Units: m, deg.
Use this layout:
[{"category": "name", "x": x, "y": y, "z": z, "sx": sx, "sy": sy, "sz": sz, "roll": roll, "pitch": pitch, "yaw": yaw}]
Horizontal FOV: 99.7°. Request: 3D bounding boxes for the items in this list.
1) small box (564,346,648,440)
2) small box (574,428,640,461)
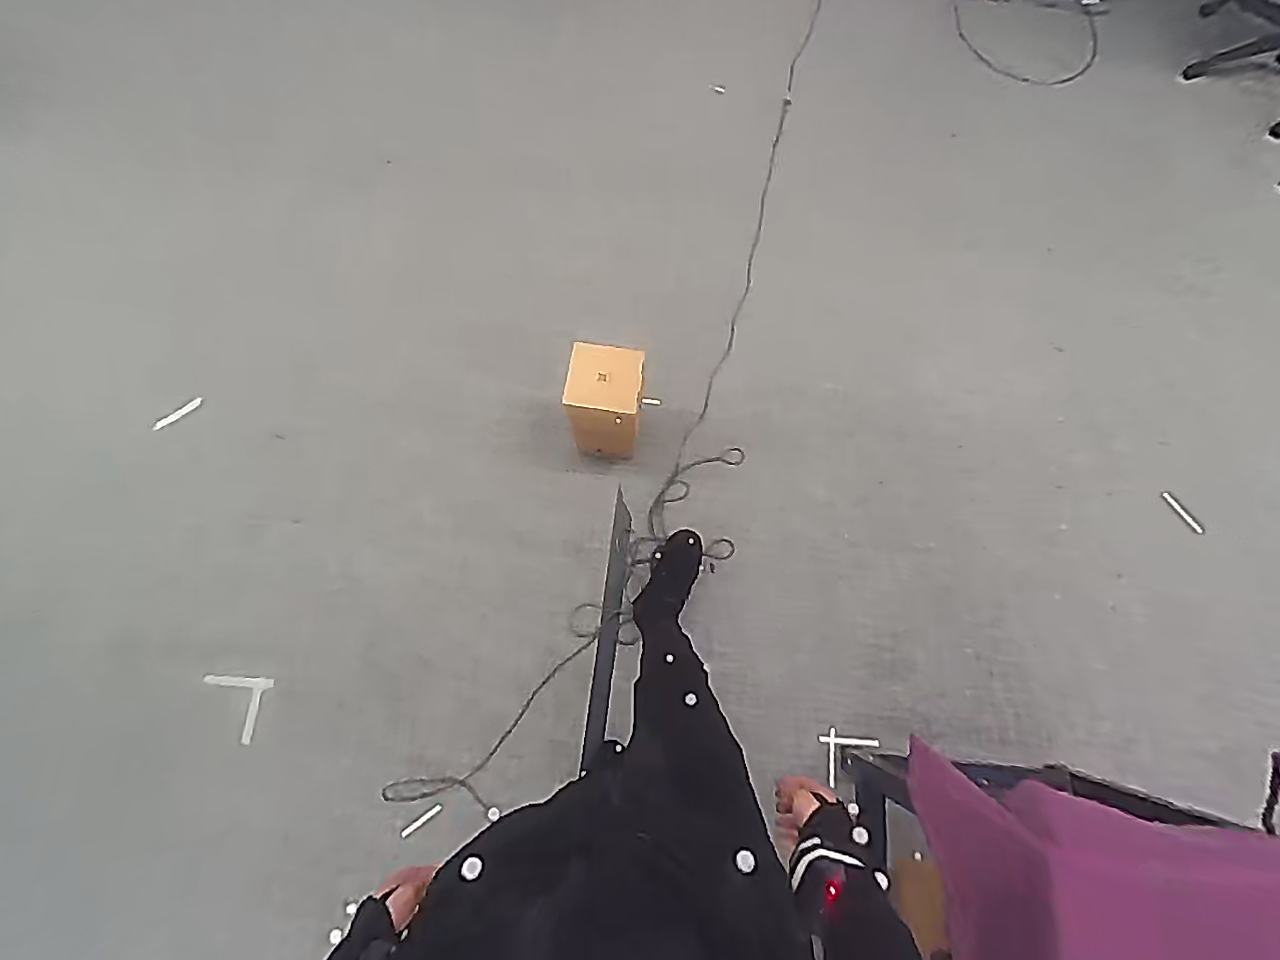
[{"category": "small box", "x": -0.080, "y": -0.210, "z": 1.344, "sx": 0.179, "sy": 0.176, "sz": 0.168, "roll": 9, "pitch": 74, "yaw": 1}, {"category": "small box", "x": -0.084, "y": -0.167, "z": 1.501, "sx": 0.168, "sy": 0.176, "sz": 0.179, "roll": 7, "pitch": 75, "yaw": 1}]
